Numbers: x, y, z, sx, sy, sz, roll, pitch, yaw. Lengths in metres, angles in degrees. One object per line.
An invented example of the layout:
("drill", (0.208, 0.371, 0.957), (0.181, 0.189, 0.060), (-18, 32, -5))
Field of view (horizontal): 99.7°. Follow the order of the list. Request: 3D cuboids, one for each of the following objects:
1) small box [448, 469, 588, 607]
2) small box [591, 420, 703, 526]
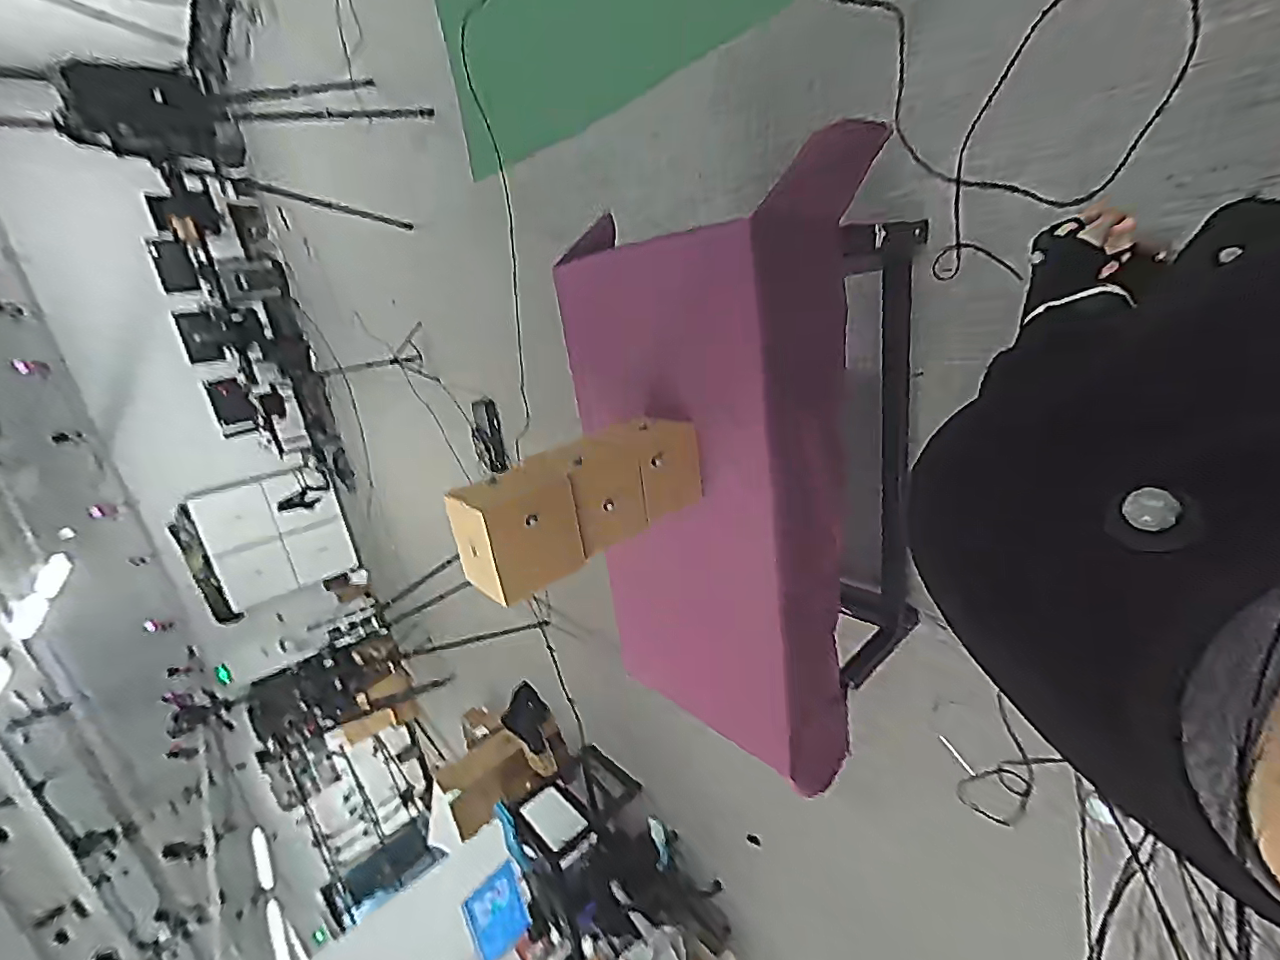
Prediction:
("small box", (-0.215, 0.092, 0.971), (0.168, 0.176, 0.179), (15, 120, 48))
("small box", (0.018, -0.025, 1.171), (0.168, 0.176, 0.179), (15, 119, 48))
